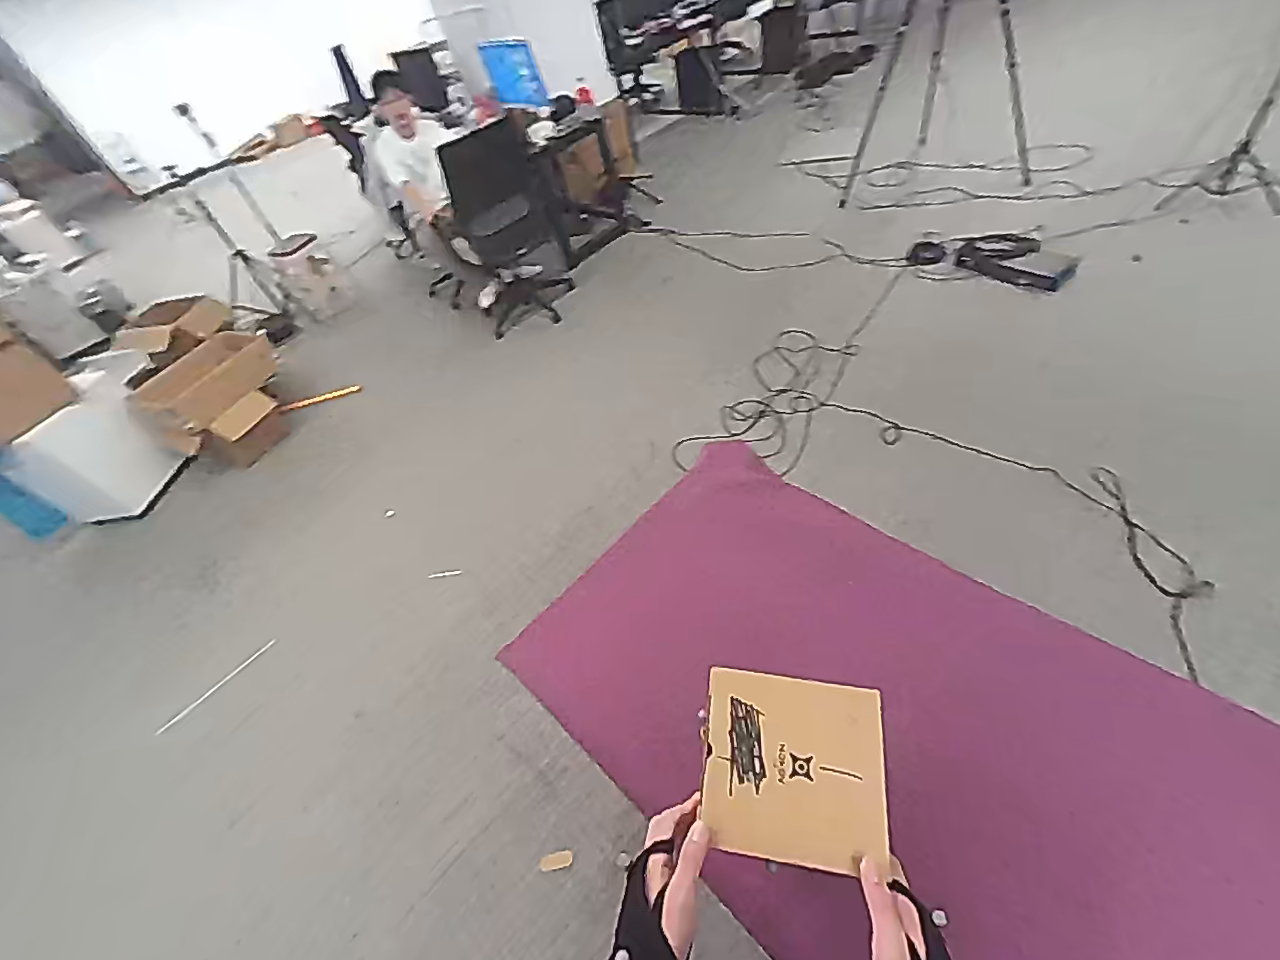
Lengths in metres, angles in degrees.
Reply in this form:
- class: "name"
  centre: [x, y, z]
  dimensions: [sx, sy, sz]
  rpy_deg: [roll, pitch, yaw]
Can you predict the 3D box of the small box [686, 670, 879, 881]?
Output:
- class: "small box"
  centre: [0.149, 0.325, 0.602]
  dimensions: [0.179, 0.176, 0.168]
  rpy_deg: [5, 59, 9]
